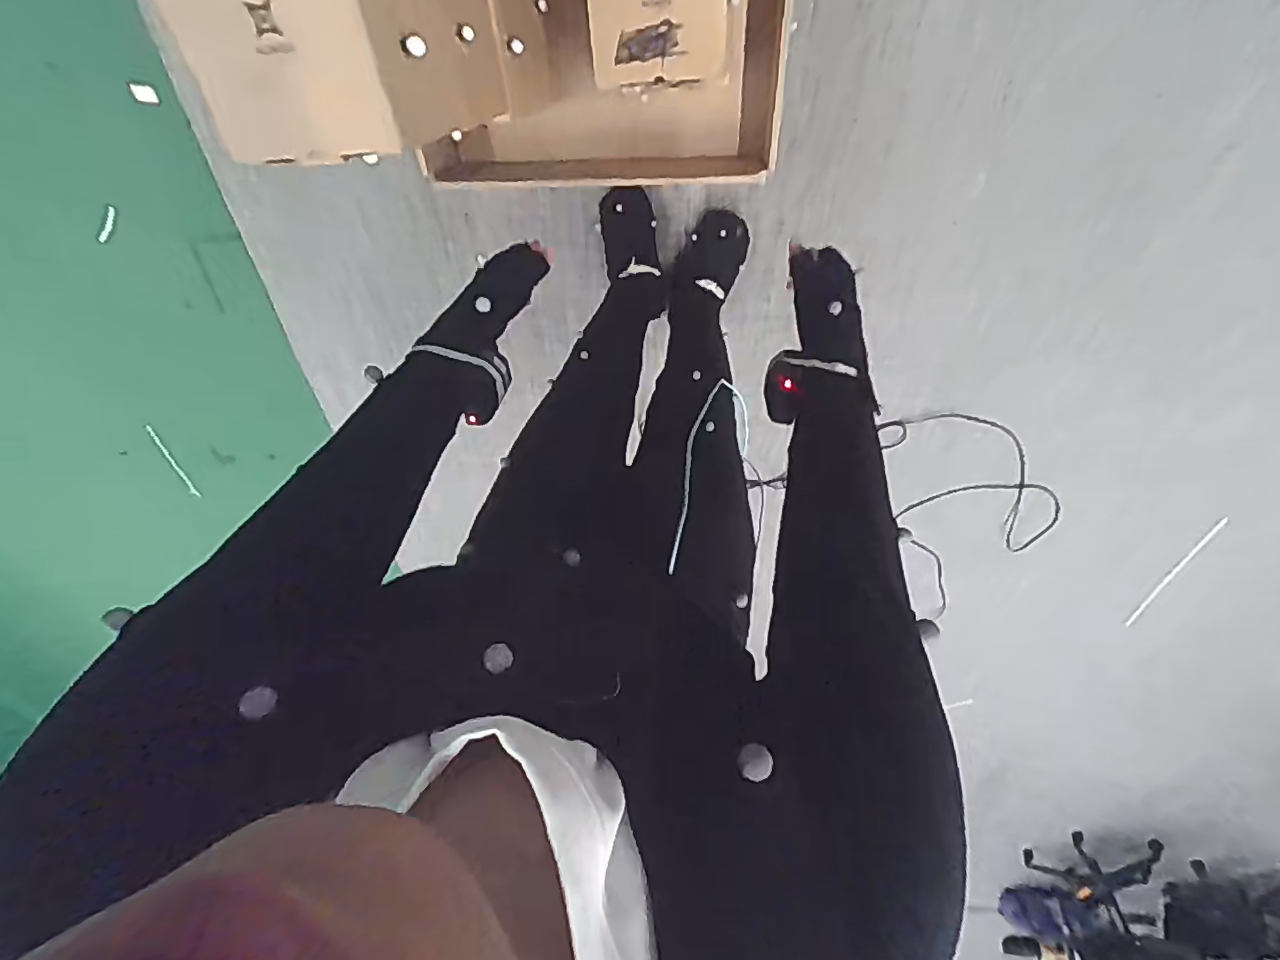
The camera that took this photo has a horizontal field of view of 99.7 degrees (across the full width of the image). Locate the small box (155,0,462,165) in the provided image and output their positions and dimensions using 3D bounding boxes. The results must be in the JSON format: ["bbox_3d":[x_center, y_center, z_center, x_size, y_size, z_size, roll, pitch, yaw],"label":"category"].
[{"bbox_3d":[-0.278,-0.398,0.477,0.168,0.176,0.179,0,131,6],"label":"small box"}]

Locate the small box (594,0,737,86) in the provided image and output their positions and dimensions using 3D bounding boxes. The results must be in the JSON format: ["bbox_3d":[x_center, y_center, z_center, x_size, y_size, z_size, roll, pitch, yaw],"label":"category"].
[{"bbox_3d":[0.037,-0.607,0.671,0.168,0.176,0.179,4,131,5],"label":"small box"}]

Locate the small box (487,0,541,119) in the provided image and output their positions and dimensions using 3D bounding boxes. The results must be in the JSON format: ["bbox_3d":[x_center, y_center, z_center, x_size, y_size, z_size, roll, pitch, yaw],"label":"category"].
[{"bbox_3d":[-0.241,-0.602,0.731,0.168,0.176,0.179,2,131,6],"label":"small box"}]

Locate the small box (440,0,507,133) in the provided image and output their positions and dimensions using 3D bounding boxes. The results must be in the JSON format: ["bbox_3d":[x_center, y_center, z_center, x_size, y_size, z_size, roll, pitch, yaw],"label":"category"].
[{"bbox_3d":[-0.262,-0.502,0.604,0.168,0.176,0.179,1,130,6],"label":"small box"}]
